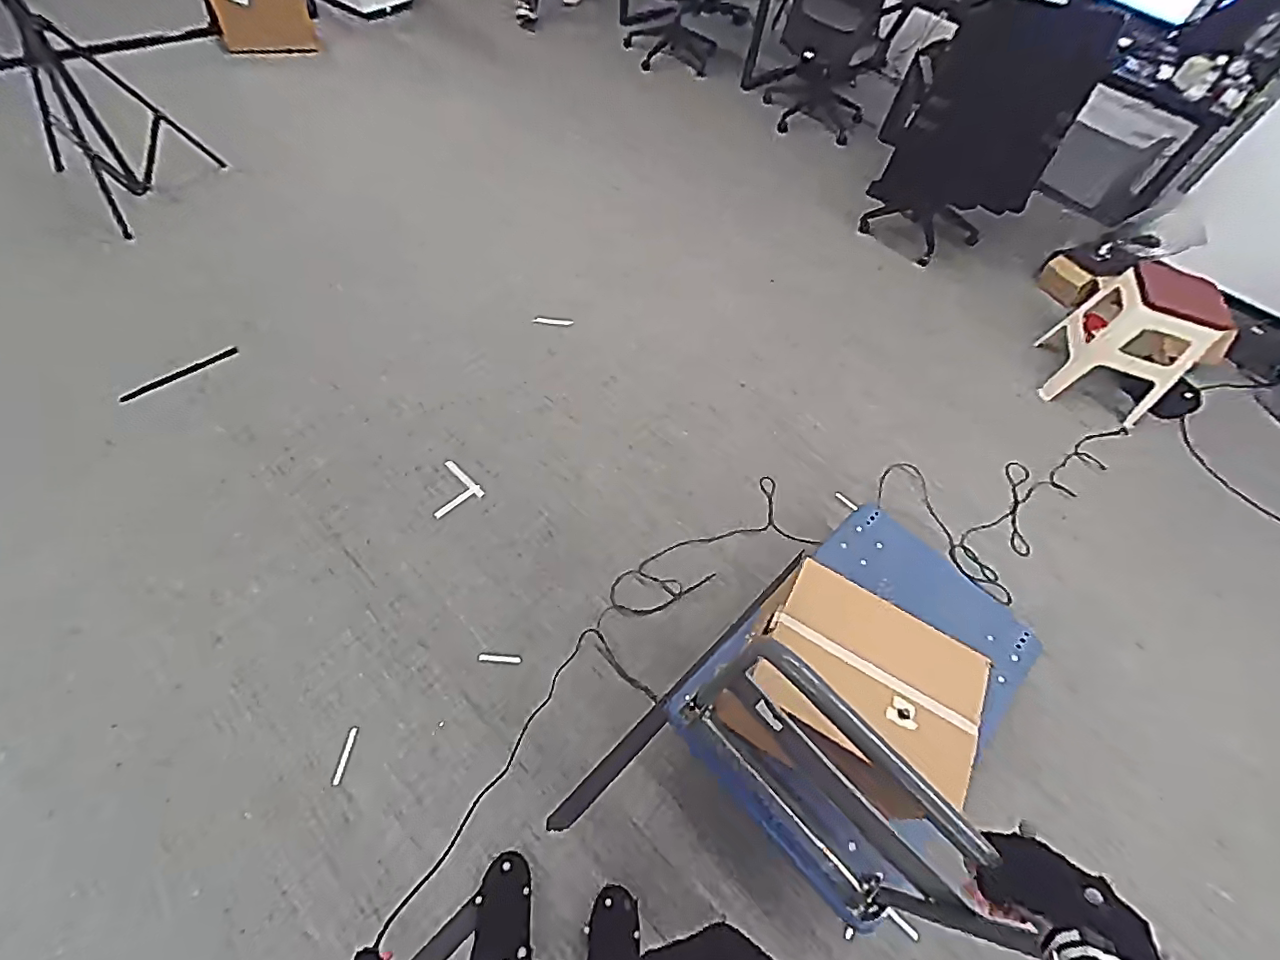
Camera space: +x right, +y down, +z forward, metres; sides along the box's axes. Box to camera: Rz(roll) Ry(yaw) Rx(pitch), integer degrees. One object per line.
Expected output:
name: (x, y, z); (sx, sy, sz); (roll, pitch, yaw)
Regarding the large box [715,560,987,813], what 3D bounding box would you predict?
large box: (0.428, 0.444, 1.156); (0.408, 0.320, 0.320); (30, 59, 11)
